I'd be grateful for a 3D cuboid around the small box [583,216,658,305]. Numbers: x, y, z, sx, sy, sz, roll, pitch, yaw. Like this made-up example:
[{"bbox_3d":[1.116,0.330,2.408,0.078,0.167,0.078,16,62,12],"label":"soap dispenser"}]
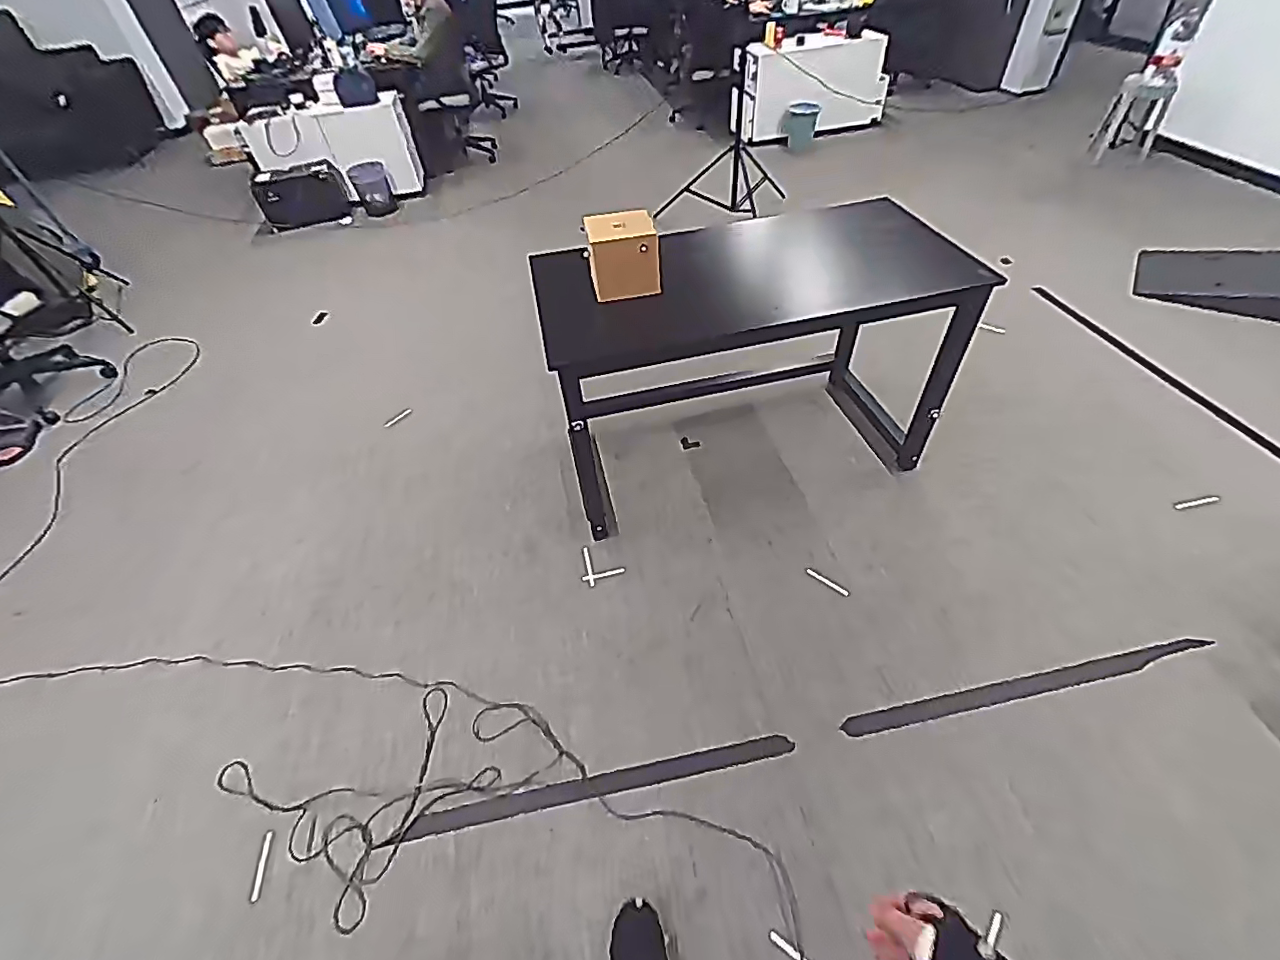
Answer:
[{"bbox_3d":[-0.051,-0.601,1.488,0.179,0.176,0.168,-10,48,-5],"label":"small box"}]
